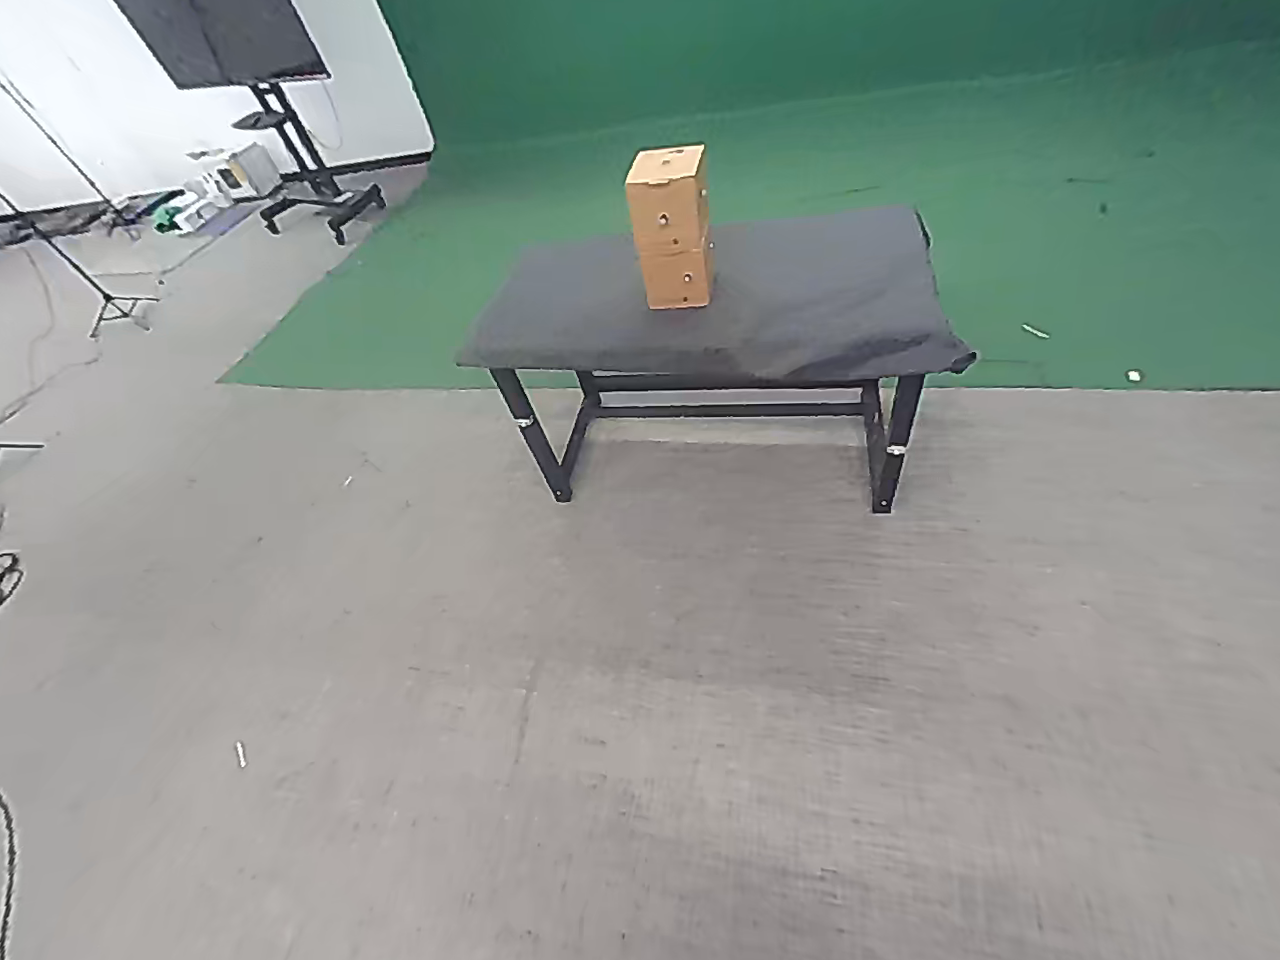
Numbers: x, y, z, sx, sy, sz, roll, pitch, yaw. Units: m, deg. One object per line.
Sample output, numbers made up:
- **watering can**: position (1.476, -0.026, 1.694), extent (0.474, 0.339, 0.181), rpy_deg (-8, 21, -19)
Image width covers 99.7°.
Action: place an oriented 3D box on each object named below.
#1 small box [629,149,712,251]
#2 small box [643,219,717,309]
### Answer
- **small box**: position (0.084, -0.683, 1.336), extent (0.168, 0.176, 0.179), rpy_deg (4, 53, 15)
- **small box**: position (0.115, -0.576, 1.456), extent (0.168, 0.176, 0.179), rpy_deg (2, 50, 14)
